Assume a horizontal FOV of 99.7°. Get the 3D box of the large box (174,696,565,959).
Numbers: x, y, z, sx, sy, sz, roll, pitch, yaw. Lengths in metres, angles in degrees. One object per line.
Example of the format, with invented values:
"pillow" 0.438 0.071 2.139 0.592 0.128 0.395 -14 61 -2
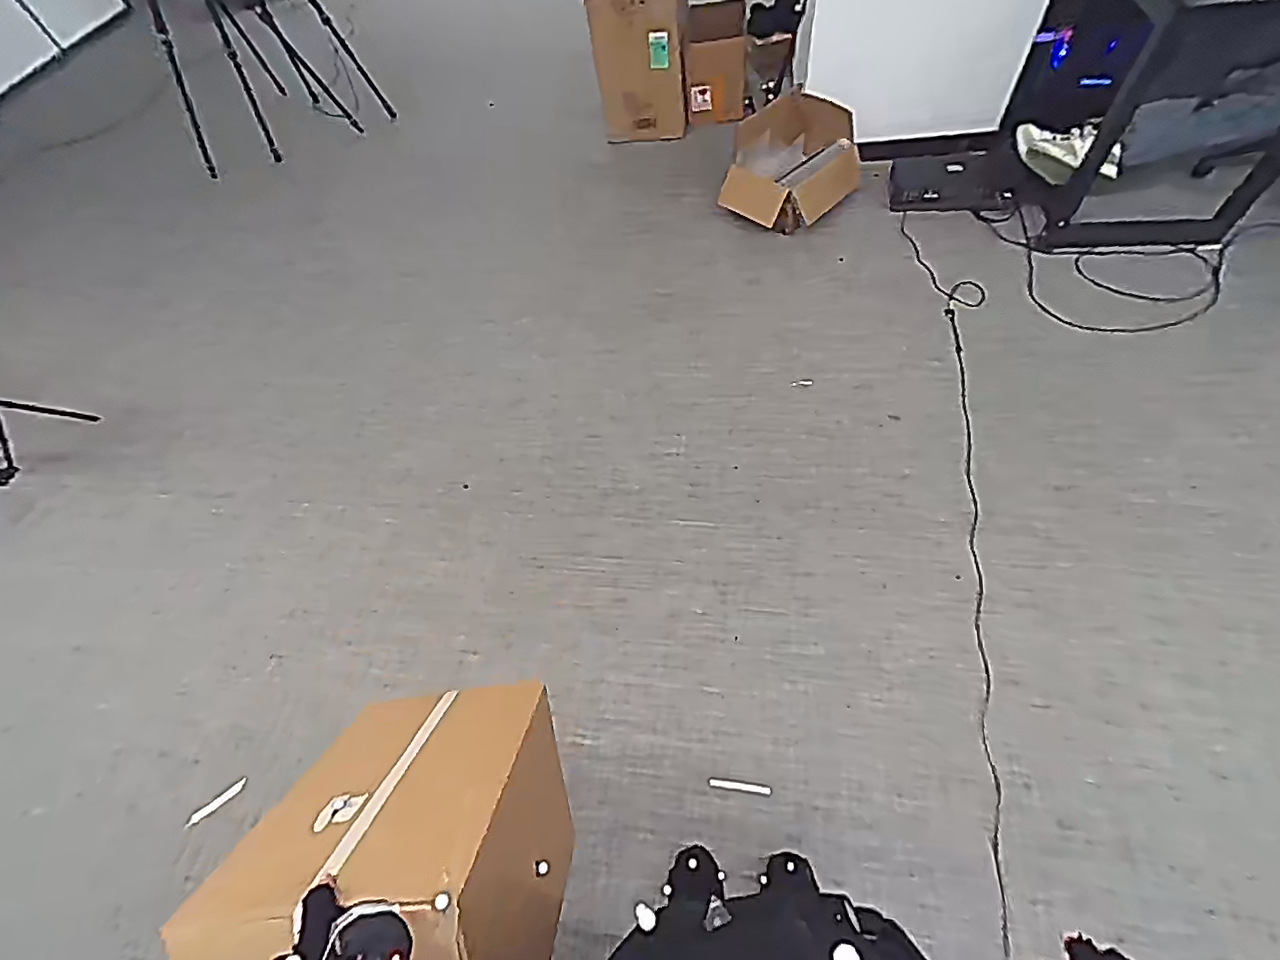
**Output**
"large box" -0.304 0.566 0.761 0.320 0.408 0.320 -9 100 4
